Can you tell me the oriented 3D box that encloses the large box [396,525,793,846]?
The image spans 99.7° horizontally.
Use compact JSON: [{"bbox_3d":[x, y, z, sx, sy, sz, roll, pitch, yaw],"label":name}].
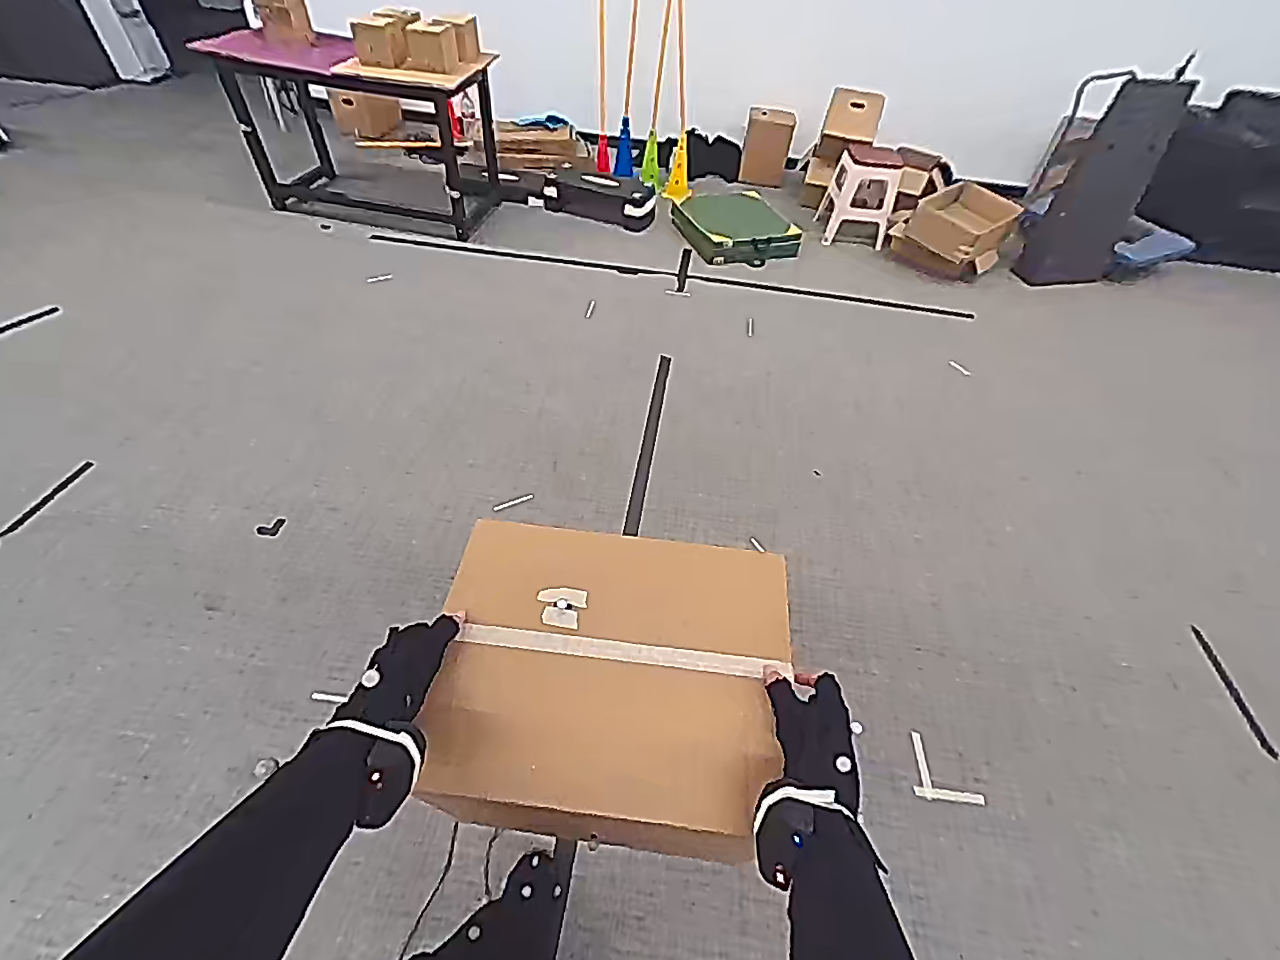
[{"bbox_3d":[-0.035,0.288,0.739,0.408,0.320,0.320,6,51,3],"label":"large box"}]
